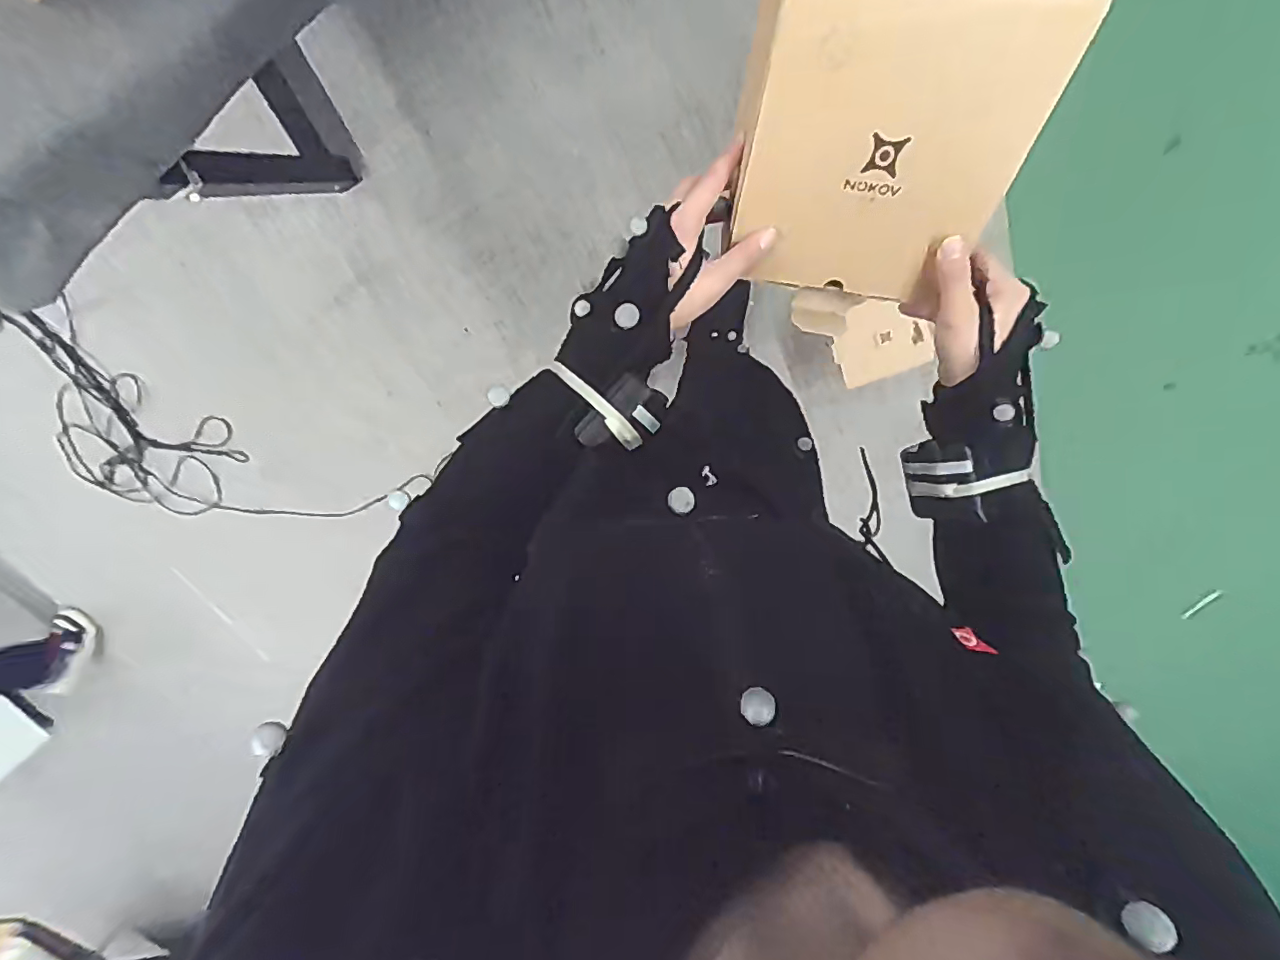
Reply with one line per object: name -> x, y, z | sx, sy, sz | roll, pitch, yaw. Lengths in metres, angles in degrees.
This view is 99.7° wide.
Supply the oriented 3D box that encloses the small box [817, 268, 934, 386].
small box -> 0.475, -0.319, 1.117 | 0.179, 0.176, 0.168 | -18, 115, 17
